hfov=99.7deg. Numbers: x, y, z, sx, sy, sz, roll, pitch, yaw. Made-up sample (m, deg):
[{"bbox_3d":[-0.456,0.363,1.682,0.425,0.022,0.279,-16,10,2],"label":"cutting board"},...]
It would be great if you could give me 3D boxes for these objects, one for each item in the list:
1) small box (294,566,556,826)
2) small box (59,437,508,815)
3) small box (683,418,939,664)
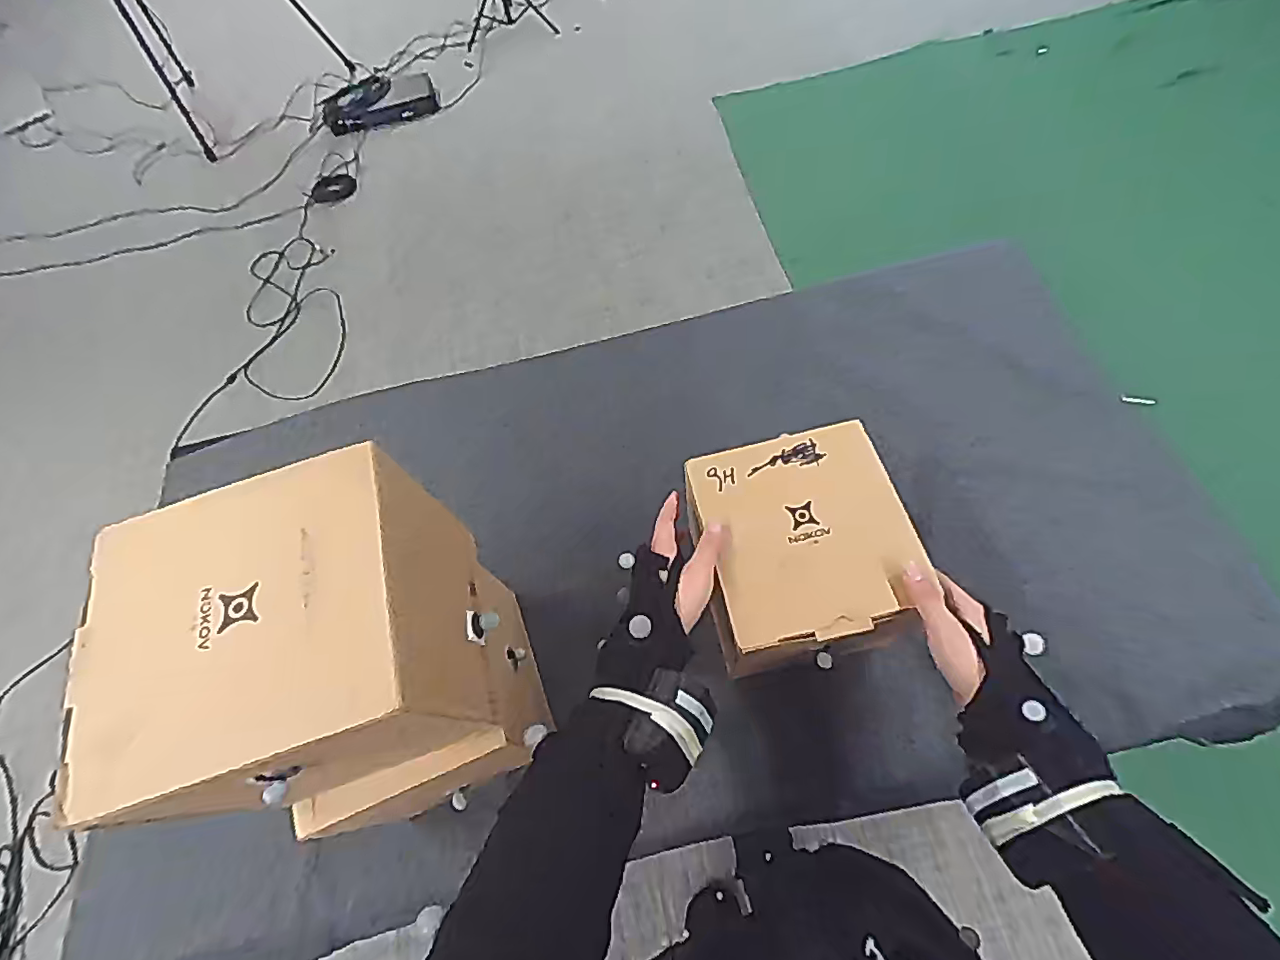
[{"bbox_3d":[-0.195,0.189,0.506,0.168,0.176,0.179,-23,64,-5],"label":"small box"},{"bbox_3d":[-0.212,0.102,0.369,0.179,0.176,0.168,-19,64,-4],"label":"small box"},{"bbox_3d":[0.145,0.071,0.525,0.168,0.176,0.179,-14,63,0],"label":"small box"}]
